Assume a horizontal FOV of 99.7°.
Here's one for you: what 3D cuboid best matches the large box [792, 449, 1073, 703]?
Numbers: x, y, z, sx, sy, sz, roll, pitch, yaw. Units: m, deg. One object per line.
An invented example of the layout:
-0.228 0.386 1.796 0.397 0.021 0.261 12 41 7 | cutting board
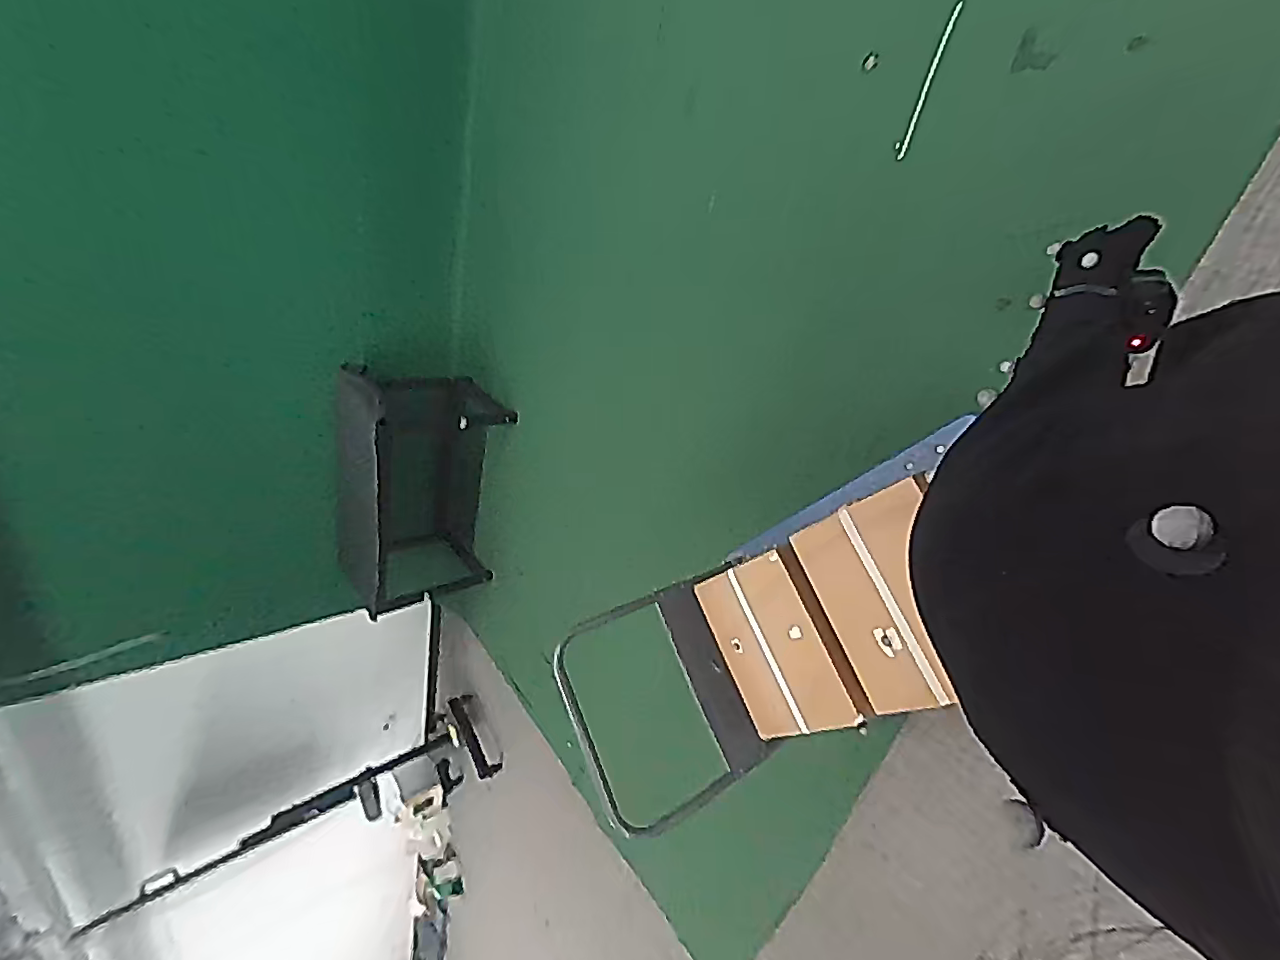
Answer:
0.607 0.191 1.144 0.320 0.320 0.408 -40 69 46 | large box
